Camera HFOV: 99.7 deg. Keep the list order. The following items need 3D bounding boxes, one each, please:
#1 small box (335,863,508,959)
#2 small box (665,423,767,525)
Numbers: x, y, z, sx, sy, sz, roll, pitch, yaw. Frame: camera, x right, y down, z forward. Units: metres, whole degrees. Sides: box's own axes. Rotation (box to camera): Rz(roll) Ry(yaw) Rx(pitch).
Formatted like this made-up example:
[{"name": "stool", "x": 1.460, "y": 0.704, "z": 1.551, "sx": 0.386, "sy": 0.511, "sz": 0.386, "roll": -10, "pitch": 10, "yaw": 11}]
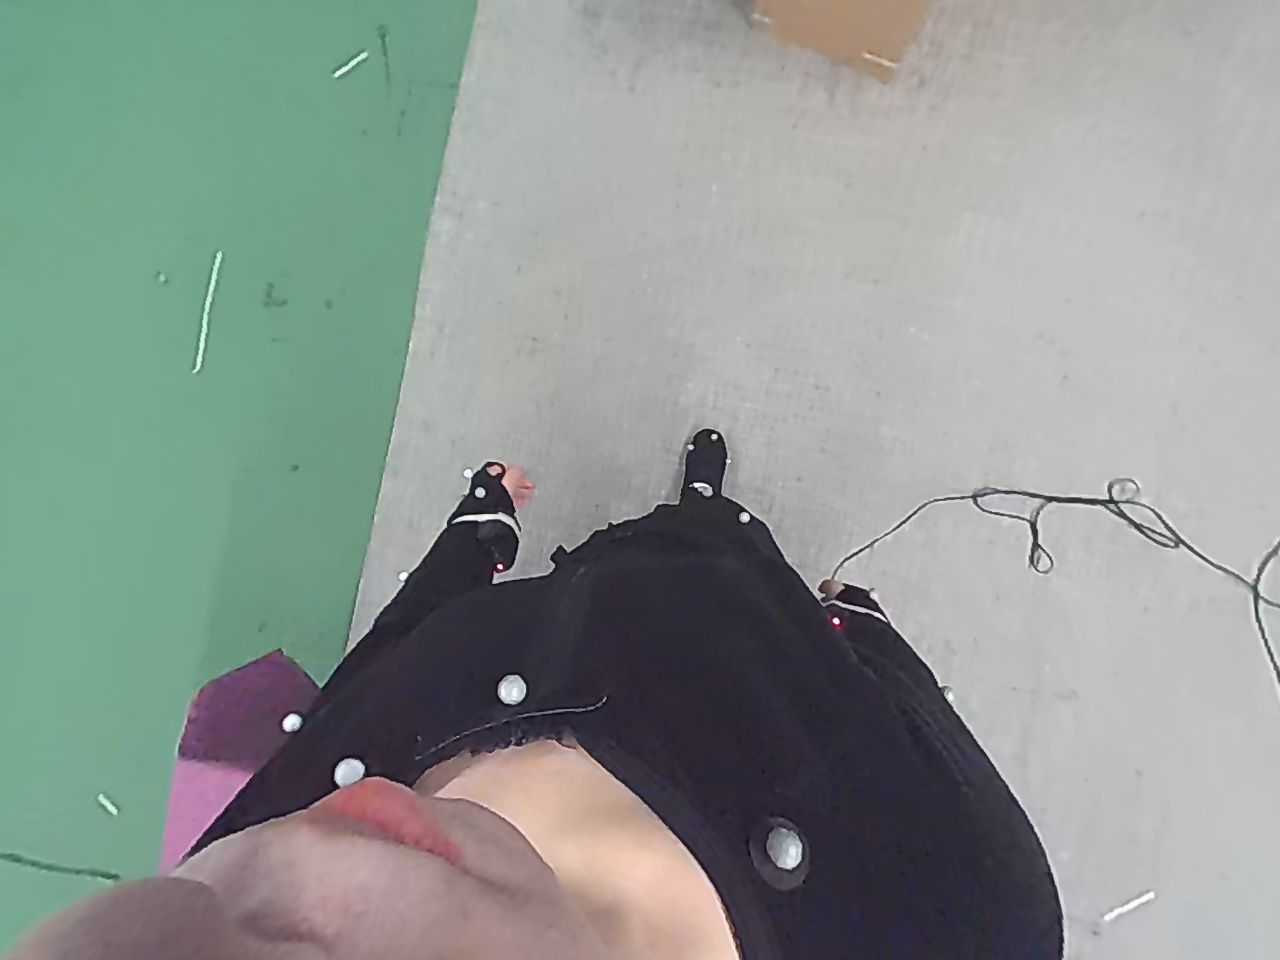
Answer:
[{"name": "small box", "x": -0.303, "y": 0.677, "z": 0.740, "sx": 0.179, "sy": 0.176, "sz": 0.168, "roll": 17, "pitch": 93, "yaw": 7}, {"name": "small box", "x": 0.186, "y": -0.014, "z": 1.385, "sx": 0.179, "sy": 0.176, "sz": 0.168, "roll": -21, "pitch": 60, "yaw": -25}]
